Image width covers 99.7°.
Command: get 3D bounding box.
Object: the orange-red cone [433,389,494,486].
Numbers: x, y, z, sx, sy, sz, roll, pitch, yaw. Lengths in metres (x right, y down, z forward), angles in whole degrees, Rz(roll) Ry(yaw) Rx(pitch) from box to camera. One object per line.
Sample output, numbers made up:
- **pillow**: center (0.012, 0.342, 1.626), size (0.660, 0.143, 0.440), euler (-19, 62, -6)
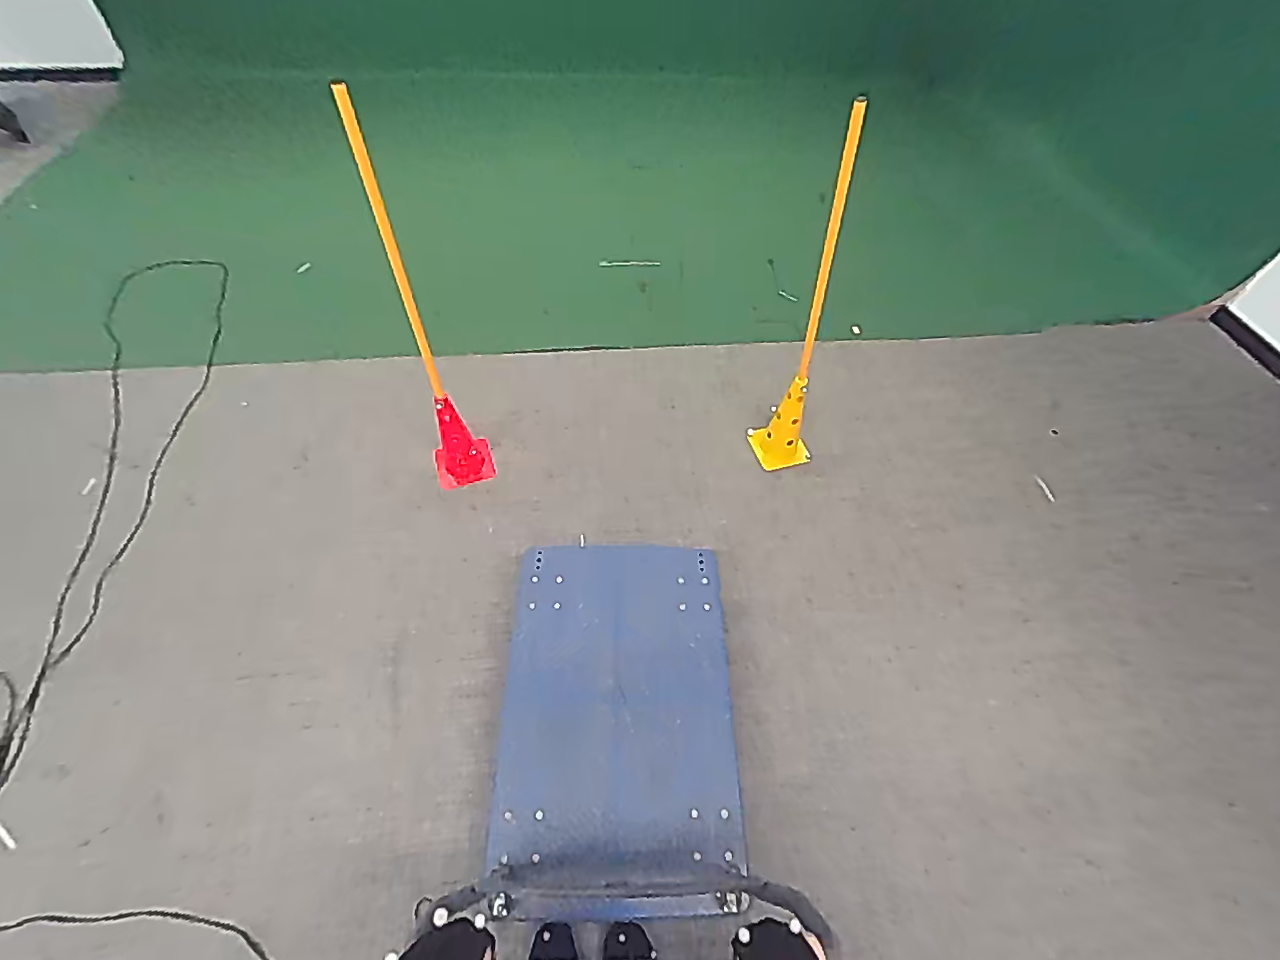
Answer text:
- **orange-red cone**: center (-0.642, -0.172, 1.847), size (0.199, 0.360, 0.198), euler (-16, 56, -12)
